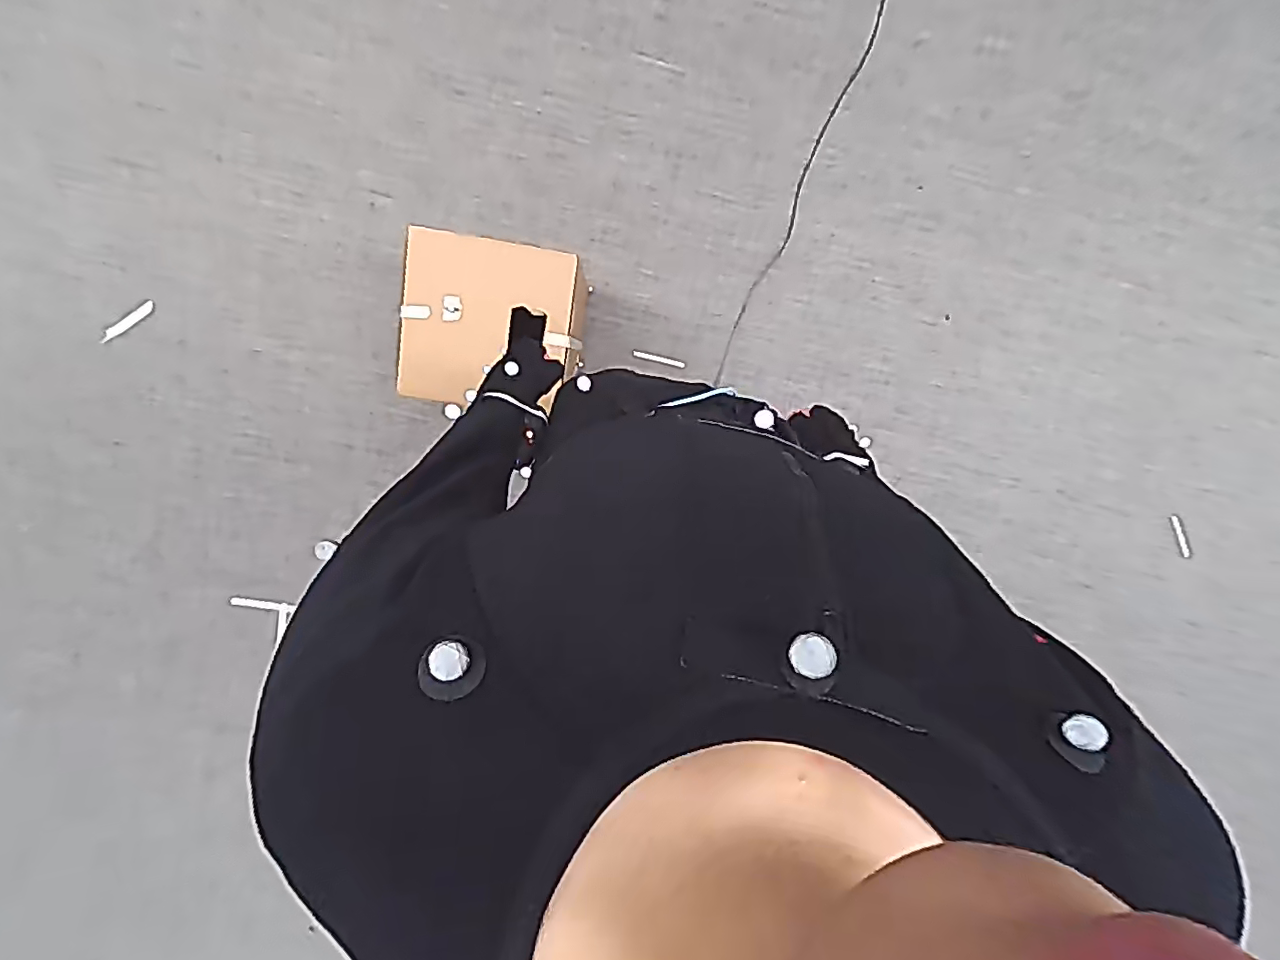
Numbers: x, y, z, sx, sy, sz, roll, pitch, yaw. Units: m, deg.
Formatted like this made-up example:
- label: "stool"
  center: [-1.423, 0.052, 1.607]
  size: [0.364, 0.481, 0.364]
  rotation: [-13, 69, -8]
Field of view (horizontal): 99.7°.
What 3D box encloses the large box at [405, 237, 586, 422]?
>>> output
- label: "large box"
  center: [-0.300, -0.328, 1.216]
  size: [0.320, 0.408, 0.320]
  rotation: [9, 103, -5]
